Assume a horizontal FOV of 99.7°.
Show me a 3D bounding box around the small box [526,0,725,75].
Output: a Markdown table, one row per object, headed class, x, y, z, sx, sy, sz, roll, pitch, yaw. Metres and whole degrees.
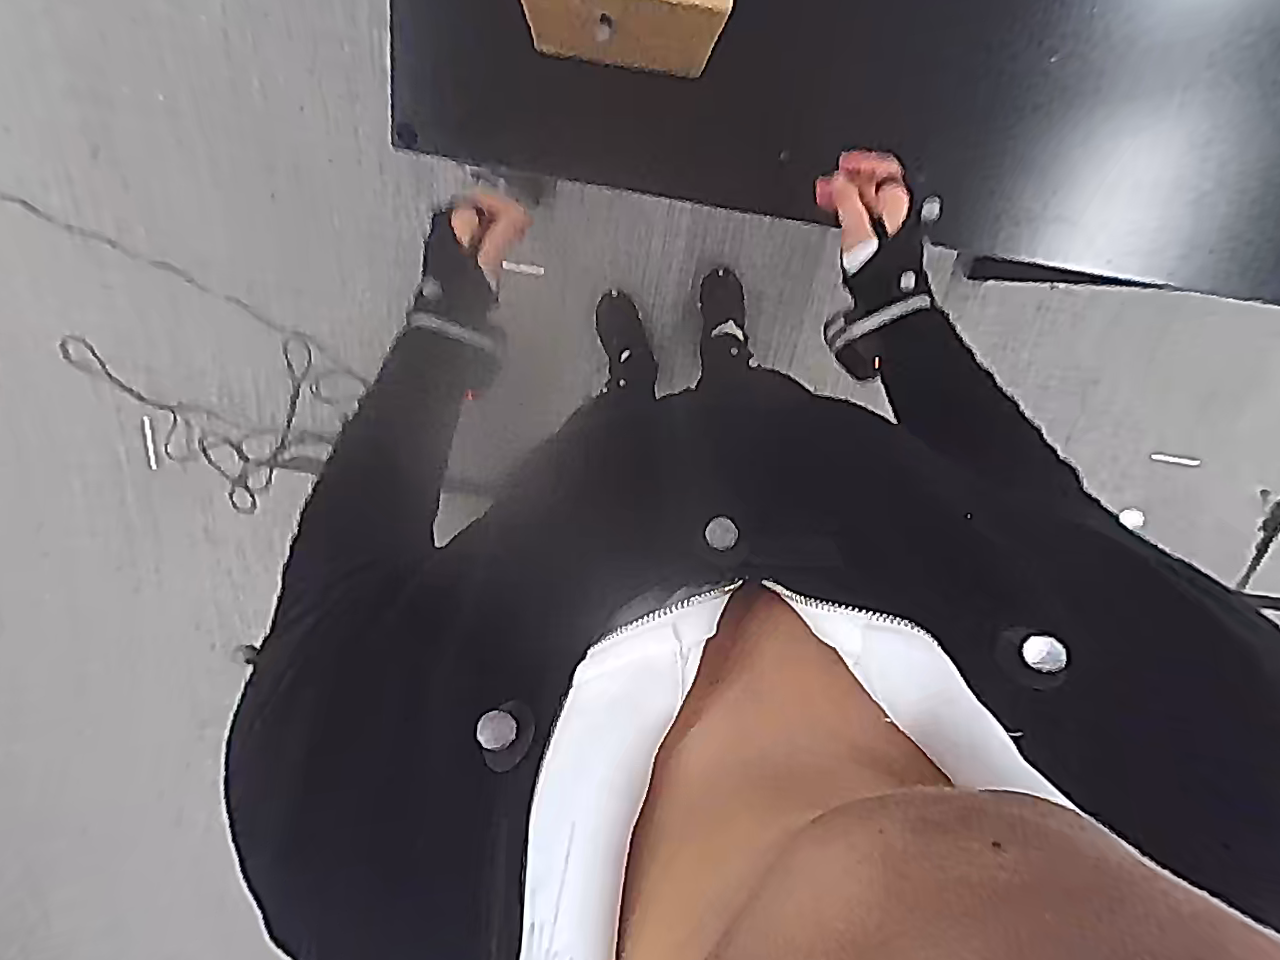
| class | x | y | z | sx | sy | sz | roll | pitch | yaw |
| --- | --- | --- | --- | --- | --- | --- | --- | --- | --- |
| small box | -0.011 | -0.487 | 0.474 | 0.179 | 0.176 | 0.168 | 5 | 111 | -5 |
